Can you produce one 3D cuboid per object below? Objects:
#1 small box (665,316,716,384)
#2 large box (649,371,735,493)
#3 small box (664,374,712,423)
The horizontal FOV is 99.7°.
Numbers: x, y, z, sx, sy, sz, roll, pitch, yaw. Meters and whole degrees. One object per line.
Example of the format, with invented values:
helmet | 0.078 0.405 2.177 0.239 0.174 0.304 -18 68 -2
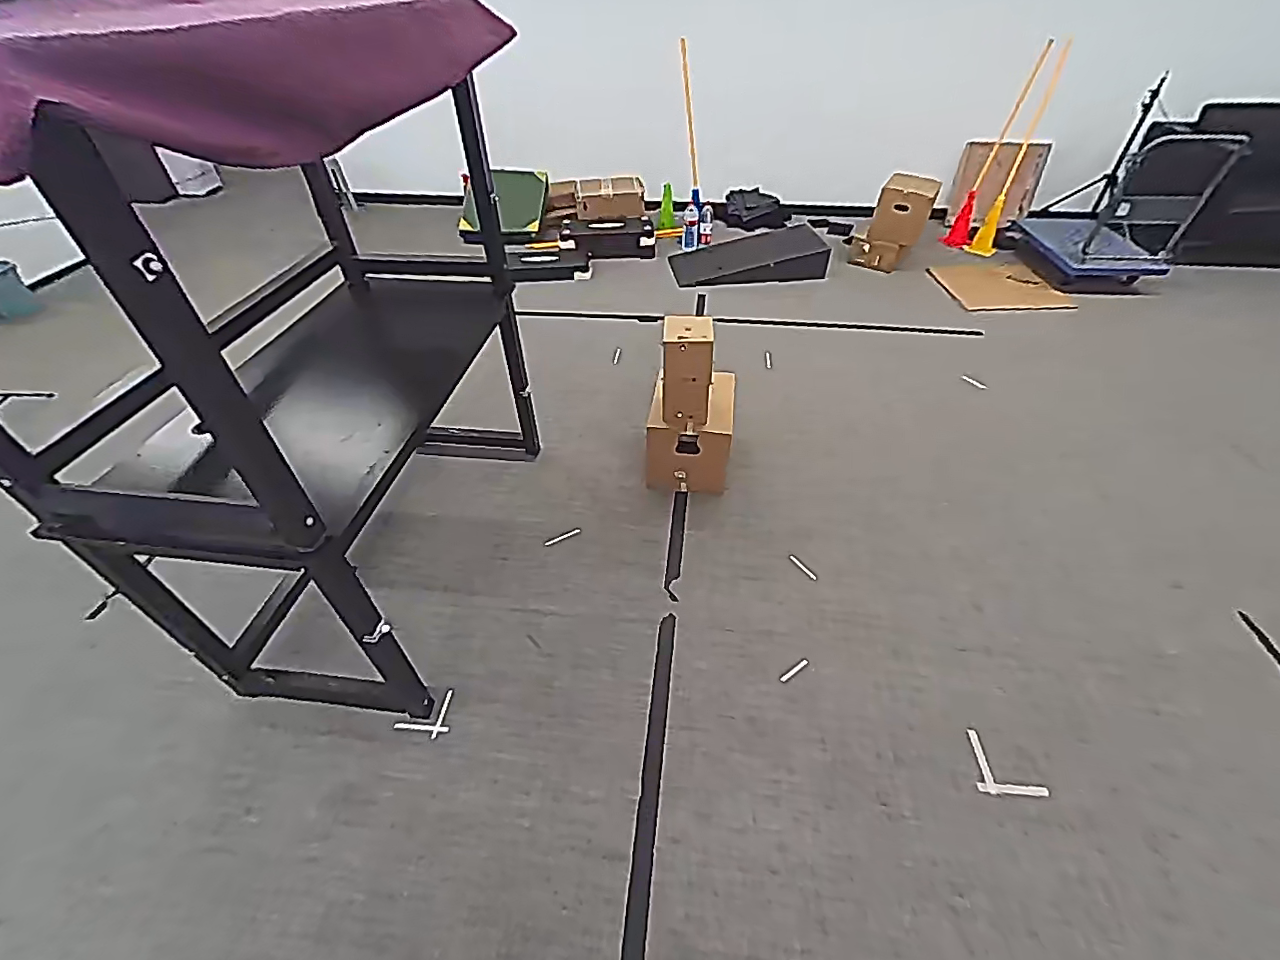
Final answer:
small box | 0.172 -0.448 1.856 0.168 0.176 0.179 1 43 5
large box | 0.210 -0.197 2.184 0.320 0.320 0.408 6 43 6
small box | 0.176 -0.330 1.970 0.168 0.176 0.179 4 44 7
